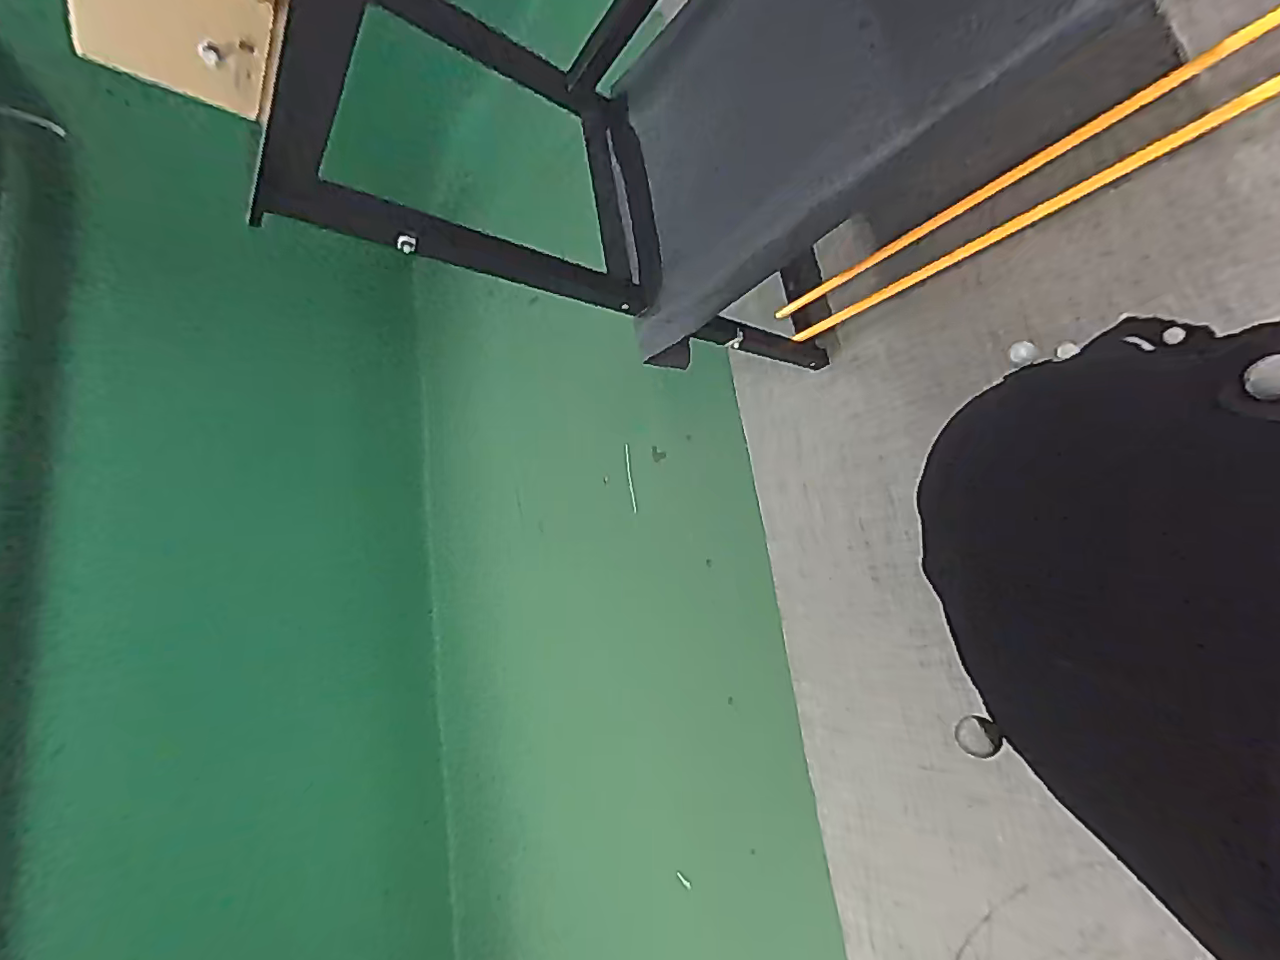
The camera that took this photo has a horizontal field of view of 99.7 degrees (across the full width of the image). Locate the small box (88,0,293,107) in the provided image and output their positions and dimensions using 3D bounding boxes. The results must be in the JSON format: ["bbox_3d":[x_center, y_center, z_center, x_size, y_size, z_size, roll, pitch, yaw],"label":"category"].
[{"bbox_3d":[-0.509,-0.584,0.617,0.168,0.176,0.179,-22,73,47],"label":"small box"}]
